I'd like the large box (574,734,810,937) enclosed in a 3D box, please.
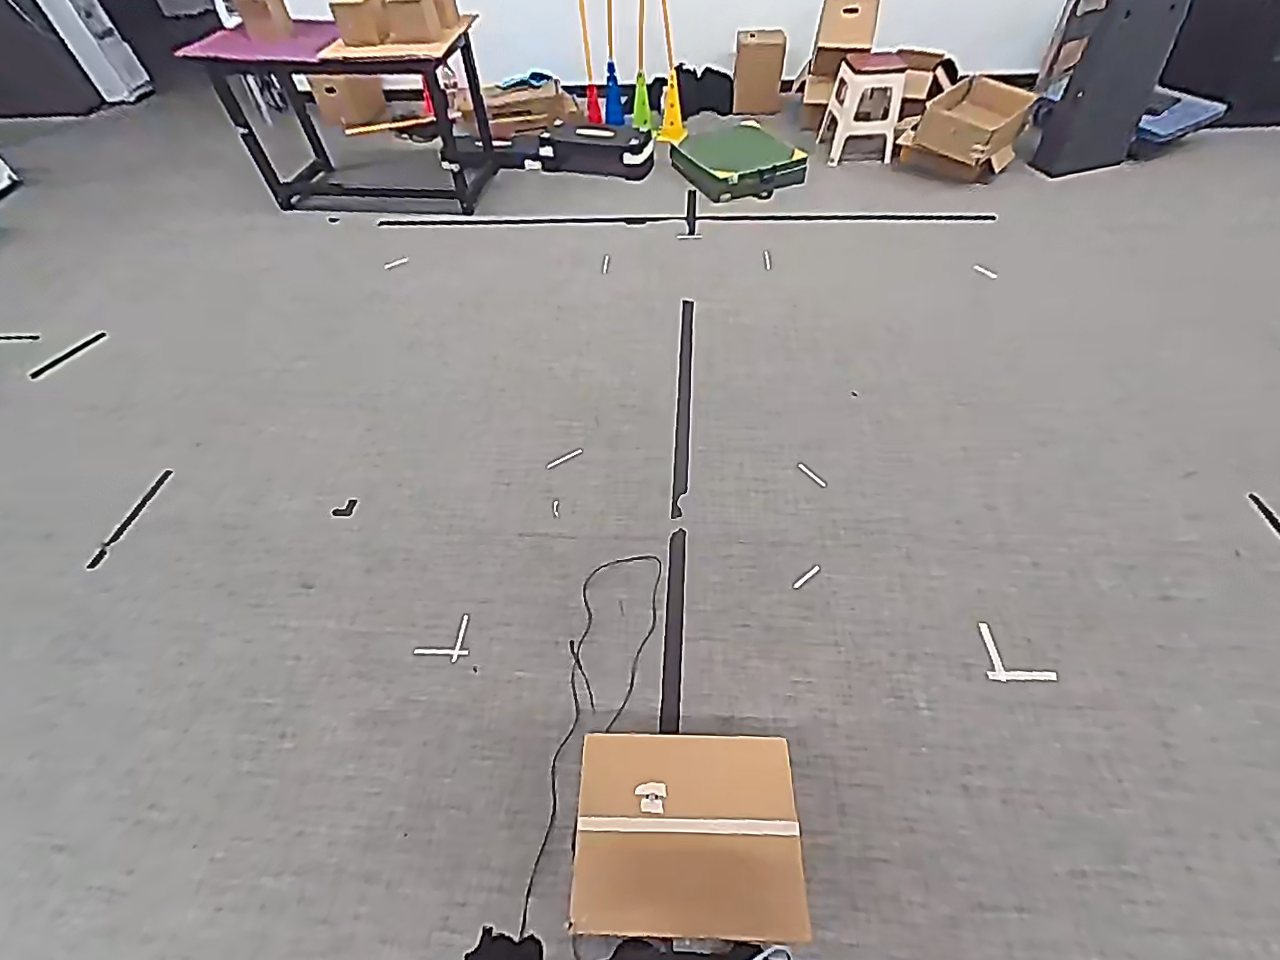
[{"bbox_3d":[0.097,0.724,1.111,0.408,0.320,0.320,-1,51,3],"label":"large box"}]
